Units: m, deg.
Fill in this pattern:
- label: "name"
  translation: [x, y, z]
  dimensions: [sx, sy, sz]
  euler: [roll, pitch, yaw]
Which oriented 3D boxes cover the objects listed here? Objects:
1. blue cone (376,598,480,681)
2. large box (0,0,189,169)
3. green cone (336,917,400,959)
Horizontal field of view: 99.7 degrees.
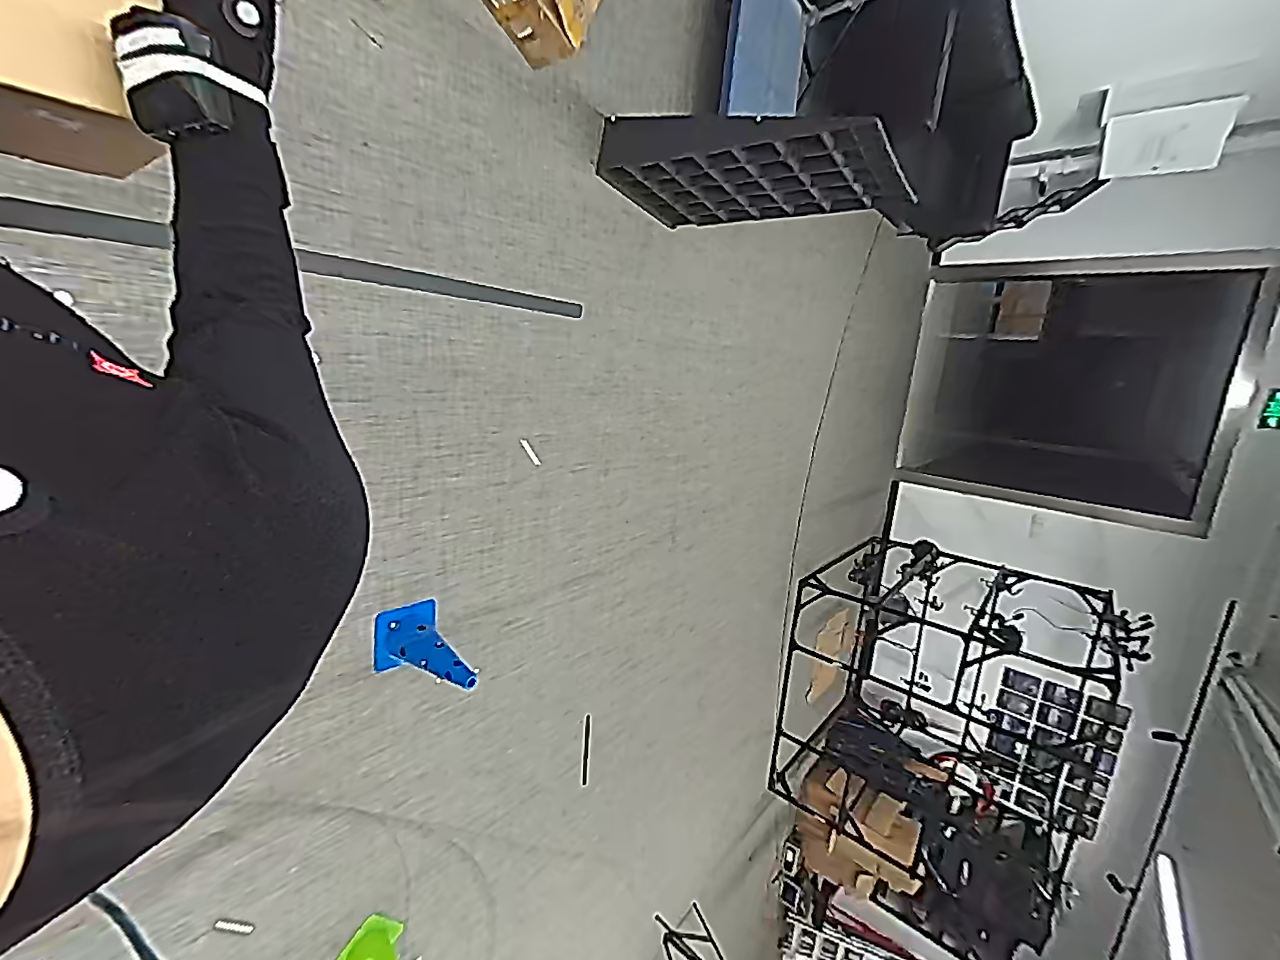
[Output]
- label: "blue cone"
  translation: [-0.615, 0.513, 1.617]
  dimensions: [0.192, 0.380, 0.193]
  euler: [-5, 106, -52]
- label: "large box"
  translation: [-0.572, -0.422, 0.314]
  dimensions: [0.408, 0.320, 0.320]
  euler: [-12, 113, -50]
- label: "green cone"
  translation: [-0.797, 1.626, 1.717]
  dimensions: [0.202, 0.368, 0.200]
  euler: [-52, 138, -30]
